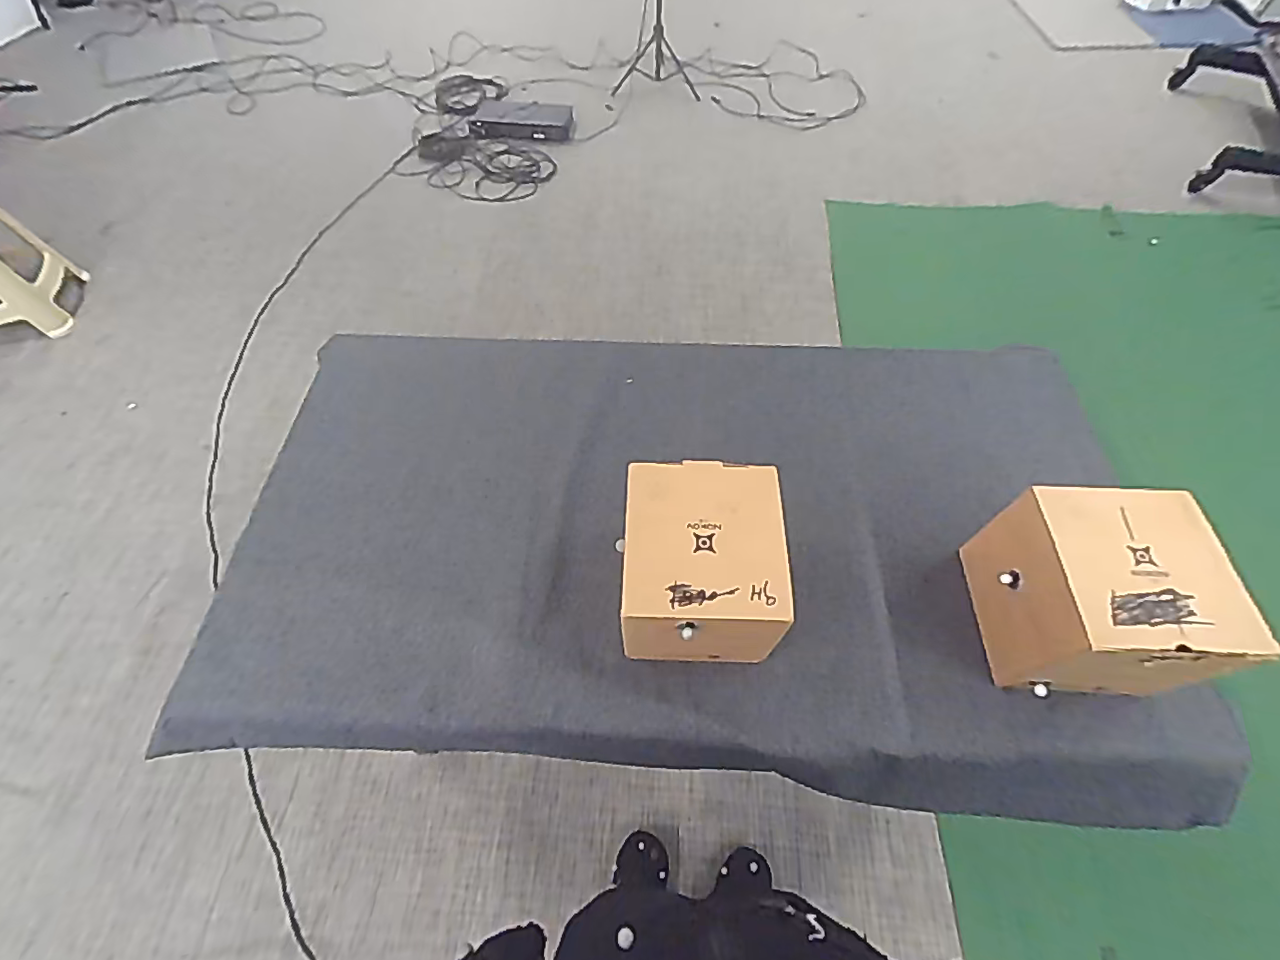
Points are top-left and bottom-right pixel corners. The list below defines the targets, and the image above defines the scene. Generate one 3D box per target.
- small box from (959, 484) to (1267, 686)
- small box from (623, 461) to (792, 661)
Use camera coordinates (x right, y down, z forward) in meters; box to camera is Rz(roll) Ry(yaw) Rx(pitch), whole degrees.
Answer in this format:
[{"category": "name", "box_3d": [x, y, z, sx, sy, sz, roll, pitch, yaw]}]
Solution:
[{"category": "small box", "box_3d": [0.494, 0.123, 0.603, 0.168, 0.176, 0.179, 2, 58, 3]}, {"category": "small box", "box_3d": [0.068, 0.097, 0.628, 0.168, 0.176, 0.179, 1, 58, 2]}]
